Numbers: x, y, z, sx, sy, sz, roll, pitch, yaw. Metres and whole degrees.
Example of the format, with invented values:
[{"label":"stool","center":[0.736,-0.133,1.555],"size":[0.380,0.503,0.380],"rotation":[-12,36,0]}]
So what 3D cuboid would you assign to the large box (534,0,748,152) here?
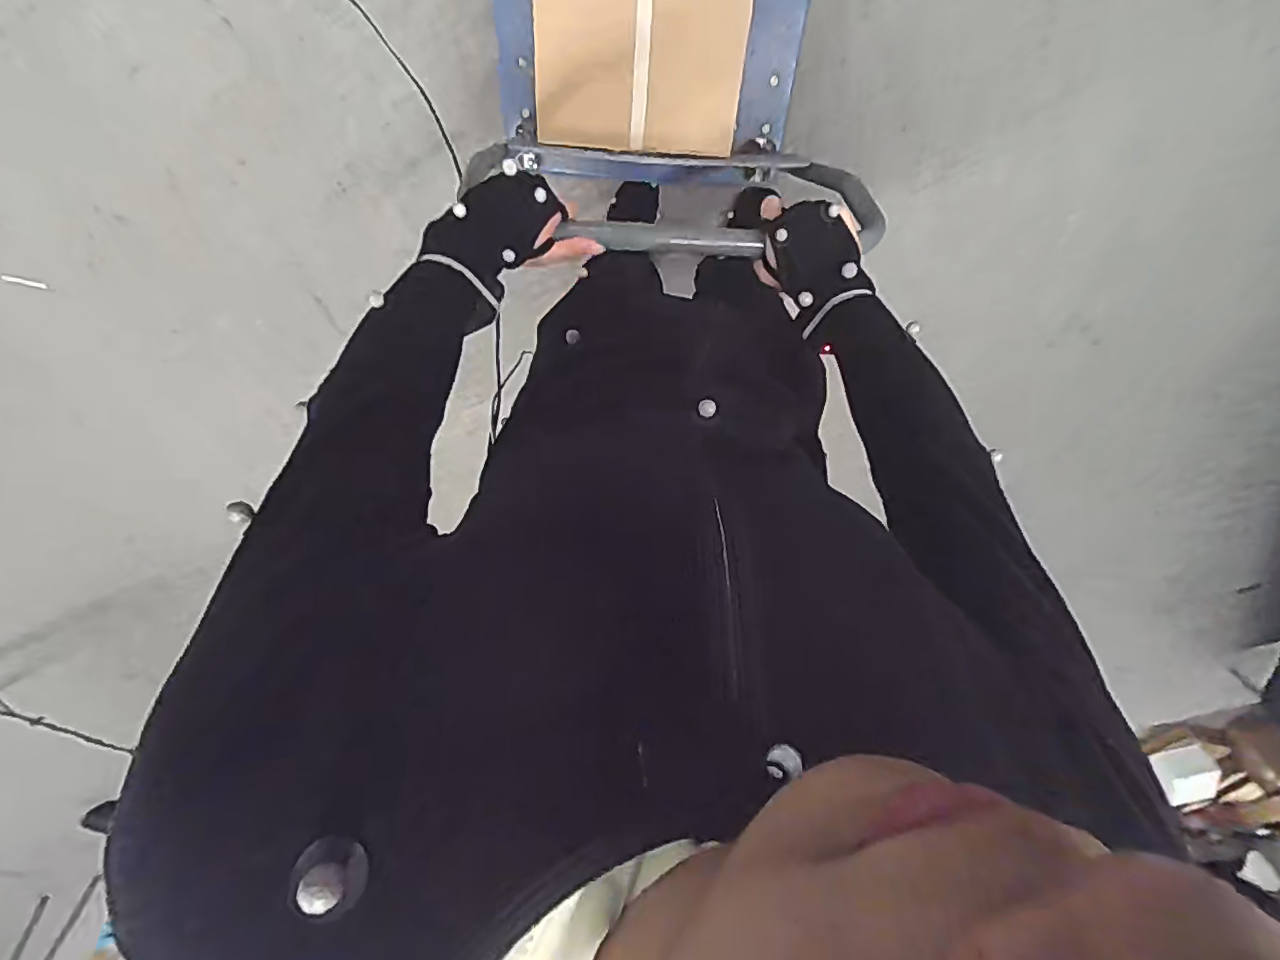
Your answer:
[{"label":"large box","center":[0.001,-0.789,0.890],"size":[0.320,0.320,0.408],"rotation":[2,125,-4]}]
